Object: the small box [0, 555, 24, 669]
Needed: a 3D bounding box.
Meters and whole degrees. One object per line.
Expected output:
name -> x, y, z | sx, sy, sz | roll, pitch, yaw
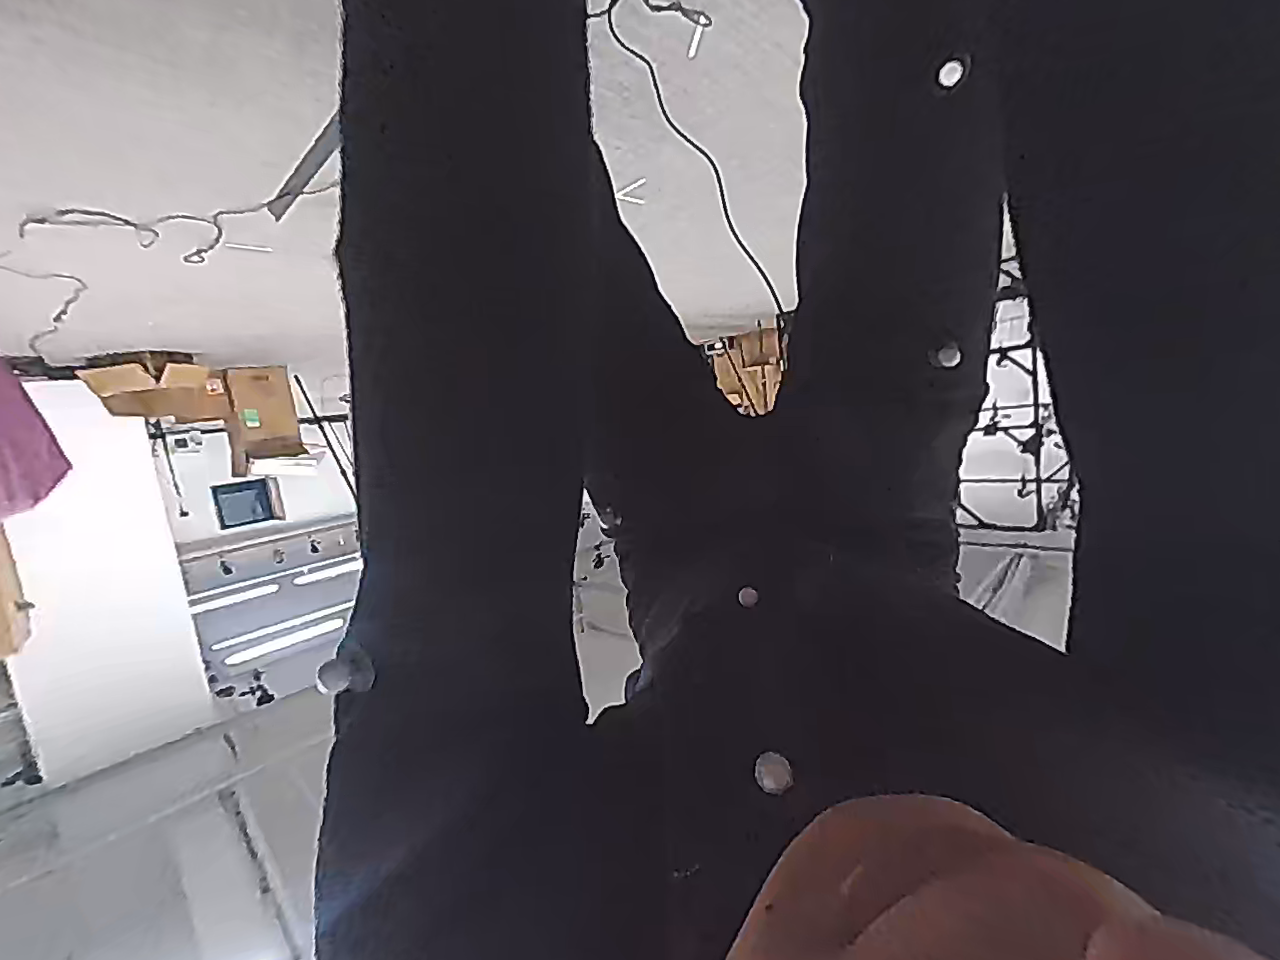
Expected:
small box -> -0.856, 0.150, 0.621 | 0.179, 0.176, 0.168 | -1, -169, 45
